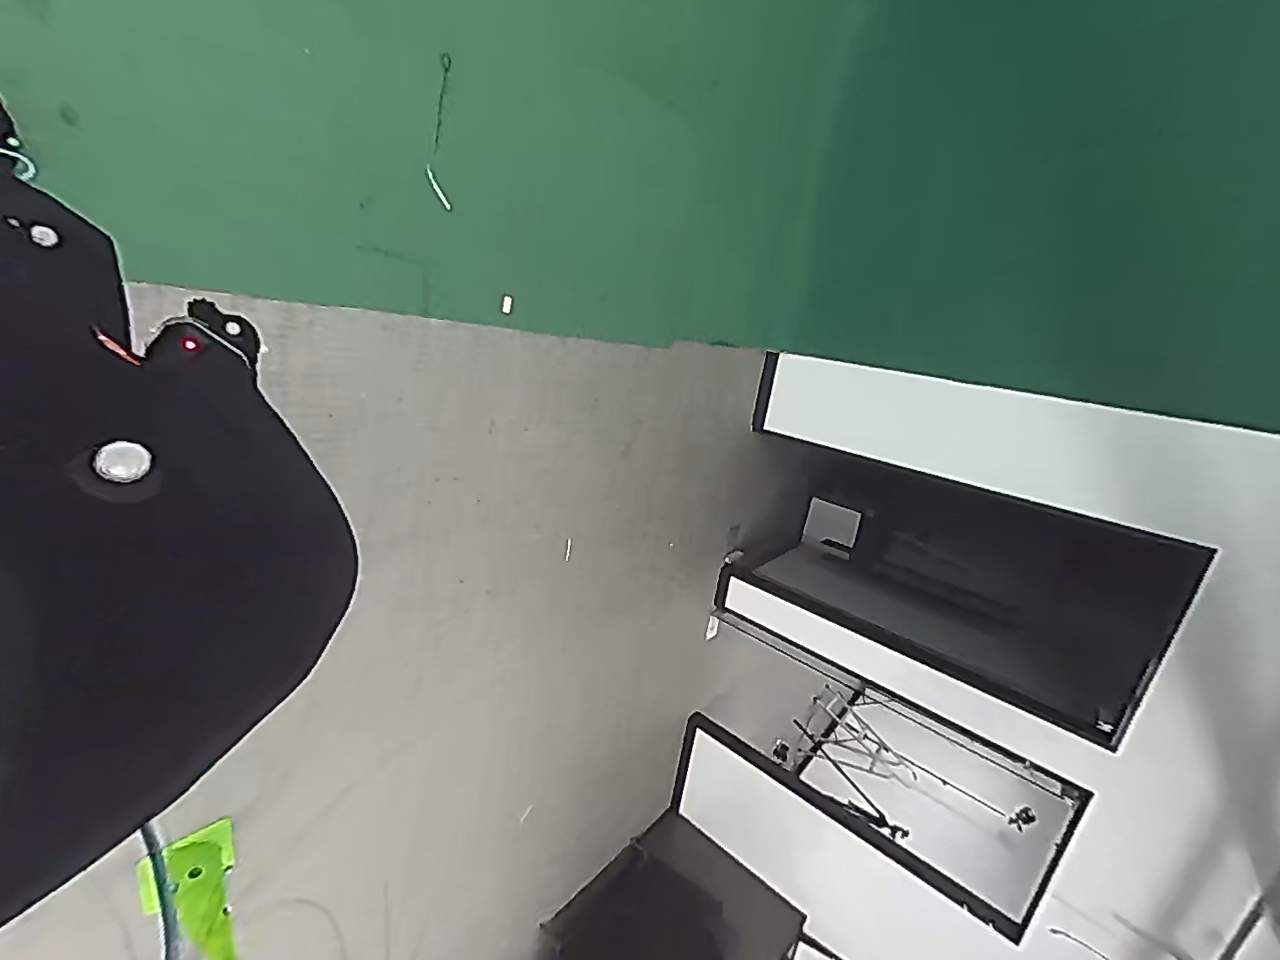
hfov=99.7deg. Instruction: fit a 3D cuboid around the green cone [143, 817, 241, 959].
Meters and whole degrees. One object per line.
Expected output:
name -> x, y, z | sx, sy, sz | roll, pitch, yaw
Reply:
green cone -> -1.101, 1.103, 1.388 | 0.202, 0.368, 0.200 | -12, 116, -48
